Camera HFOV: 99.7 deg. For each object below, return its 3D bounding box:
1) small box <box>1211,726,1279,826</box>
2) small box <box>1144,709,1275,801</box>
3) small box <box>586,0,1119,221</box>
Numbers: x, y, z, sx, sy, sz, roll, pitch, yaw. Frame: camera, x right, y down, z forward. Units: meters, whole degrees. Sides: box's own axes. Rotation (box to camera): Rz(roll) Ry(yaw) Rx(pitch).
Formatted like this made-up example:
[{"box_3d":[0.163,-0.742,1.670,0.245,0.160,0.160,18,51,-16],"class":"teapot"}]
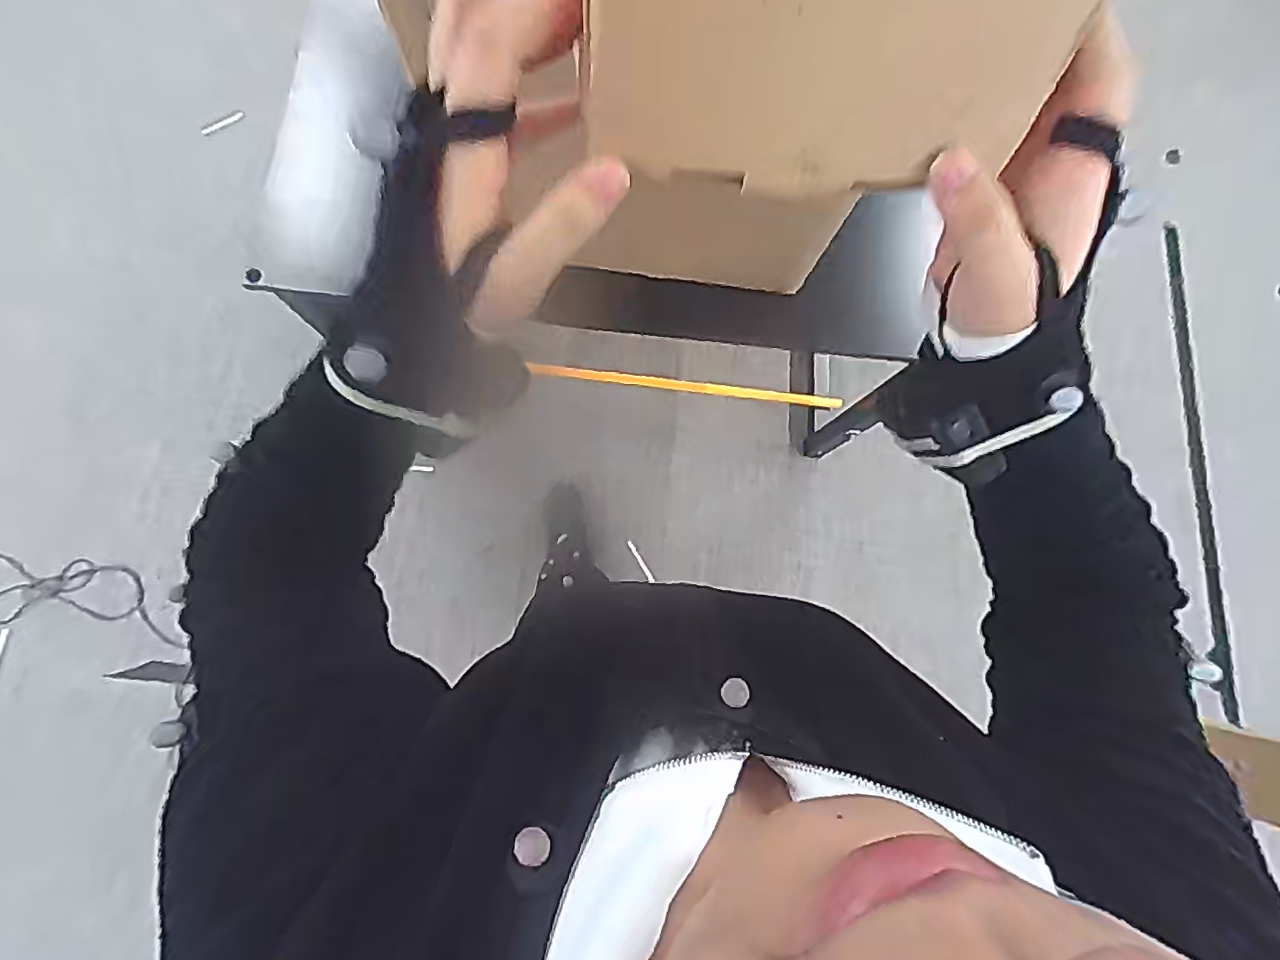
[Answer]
[{"box_3d":[1.351,0.622,1.115,0.179,0.176,0.168,9,78,-1],"class":"small box"},{"box_3d":[1.354,0.652,1.275,0.179,0.176,0.168,9,79,-2],"class":"small box"},{"box_3d":[0.066,-0.226,0.198,0.168,0.179,0.176,-1,54,-8],"class":"small box"}]
